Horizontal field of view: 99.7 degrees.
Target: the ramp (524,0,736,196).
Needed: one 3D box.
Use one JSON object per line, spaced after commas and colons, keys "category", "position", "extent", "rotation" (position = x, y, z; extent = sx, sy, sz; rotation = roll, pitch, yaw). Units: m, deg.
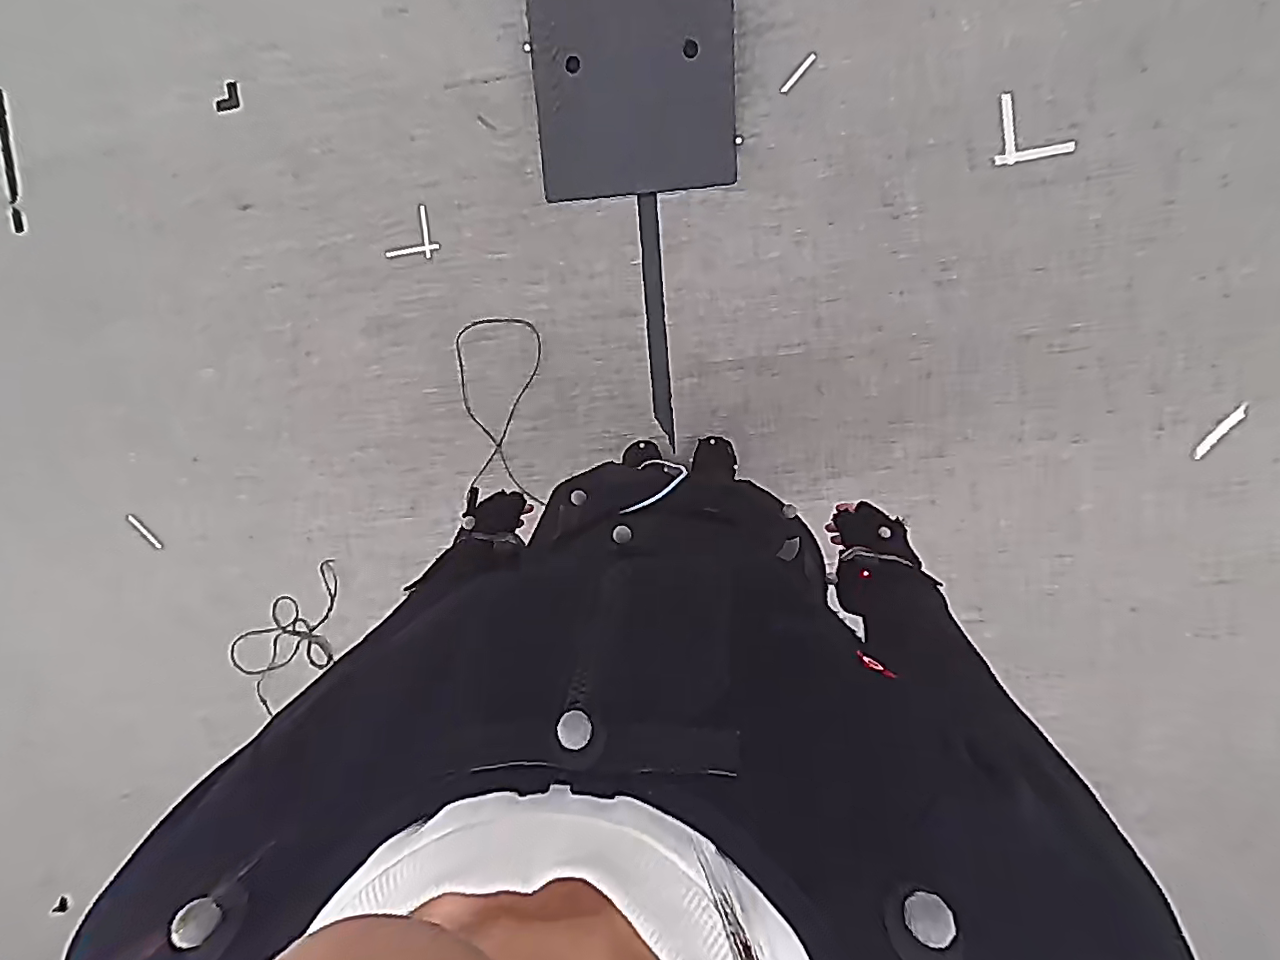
{"category": "ramp", "position": [-0.036, -1.222, 1.236], "extent": [0.509, 0.206, 0.991], "rotation": [-4, 96, 6]}
